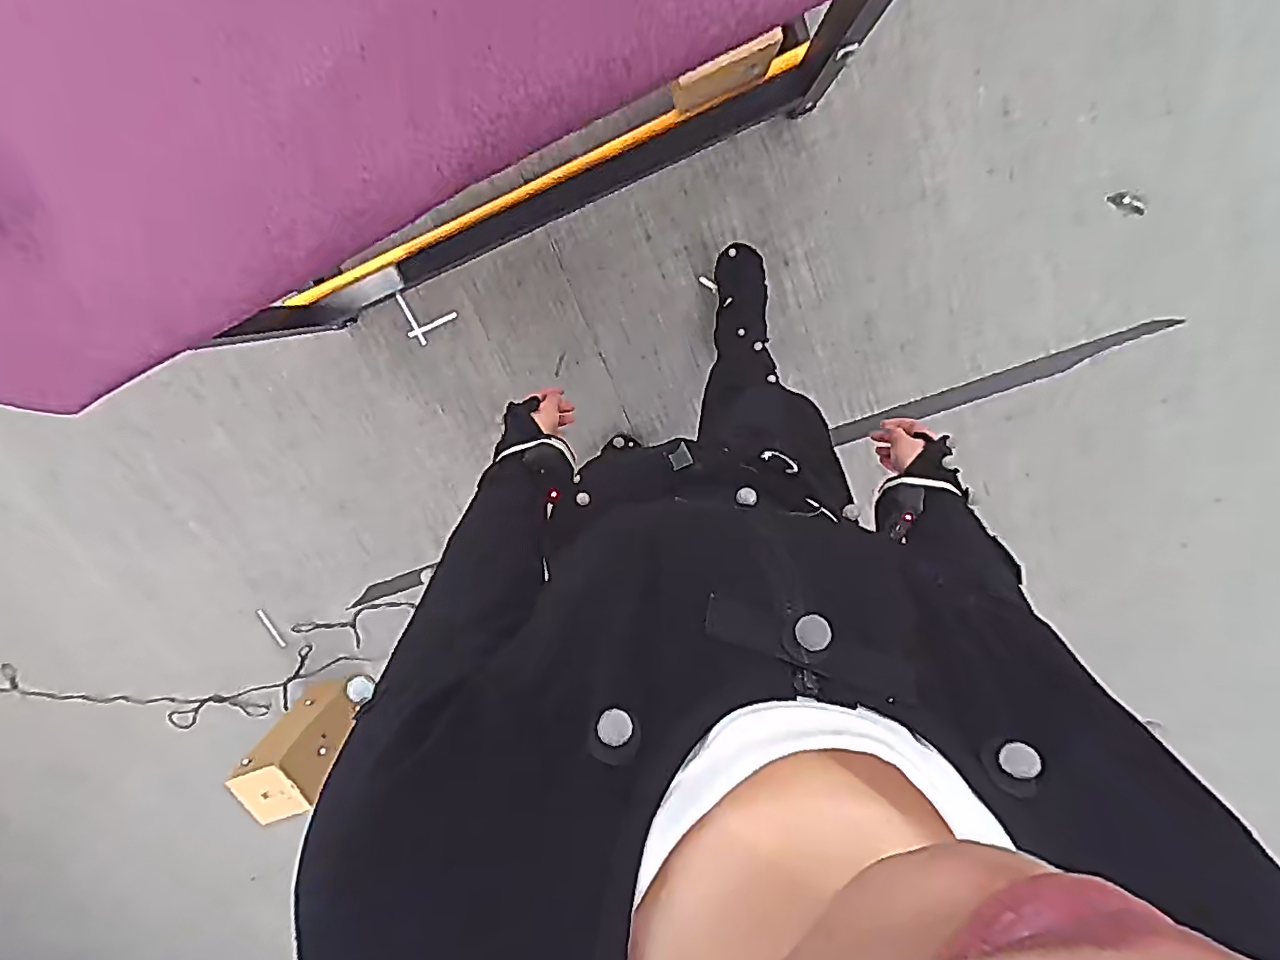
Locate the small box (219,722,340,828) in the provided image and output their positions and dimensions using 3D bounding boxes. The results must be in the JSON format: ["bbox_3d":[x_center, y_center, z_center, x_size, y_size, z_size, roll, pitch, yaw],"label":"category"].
[{"bbox_3d":[-0.970,0.797,1.471,0.179,0.176,0.168,-22,107,10],"label":"small box"}]

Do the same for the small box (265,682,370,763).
[{"bbox_3d":[-0.961,0.743,1.627,0.179,0.176,0.168,-21,107,9],"label":"small box"}]
